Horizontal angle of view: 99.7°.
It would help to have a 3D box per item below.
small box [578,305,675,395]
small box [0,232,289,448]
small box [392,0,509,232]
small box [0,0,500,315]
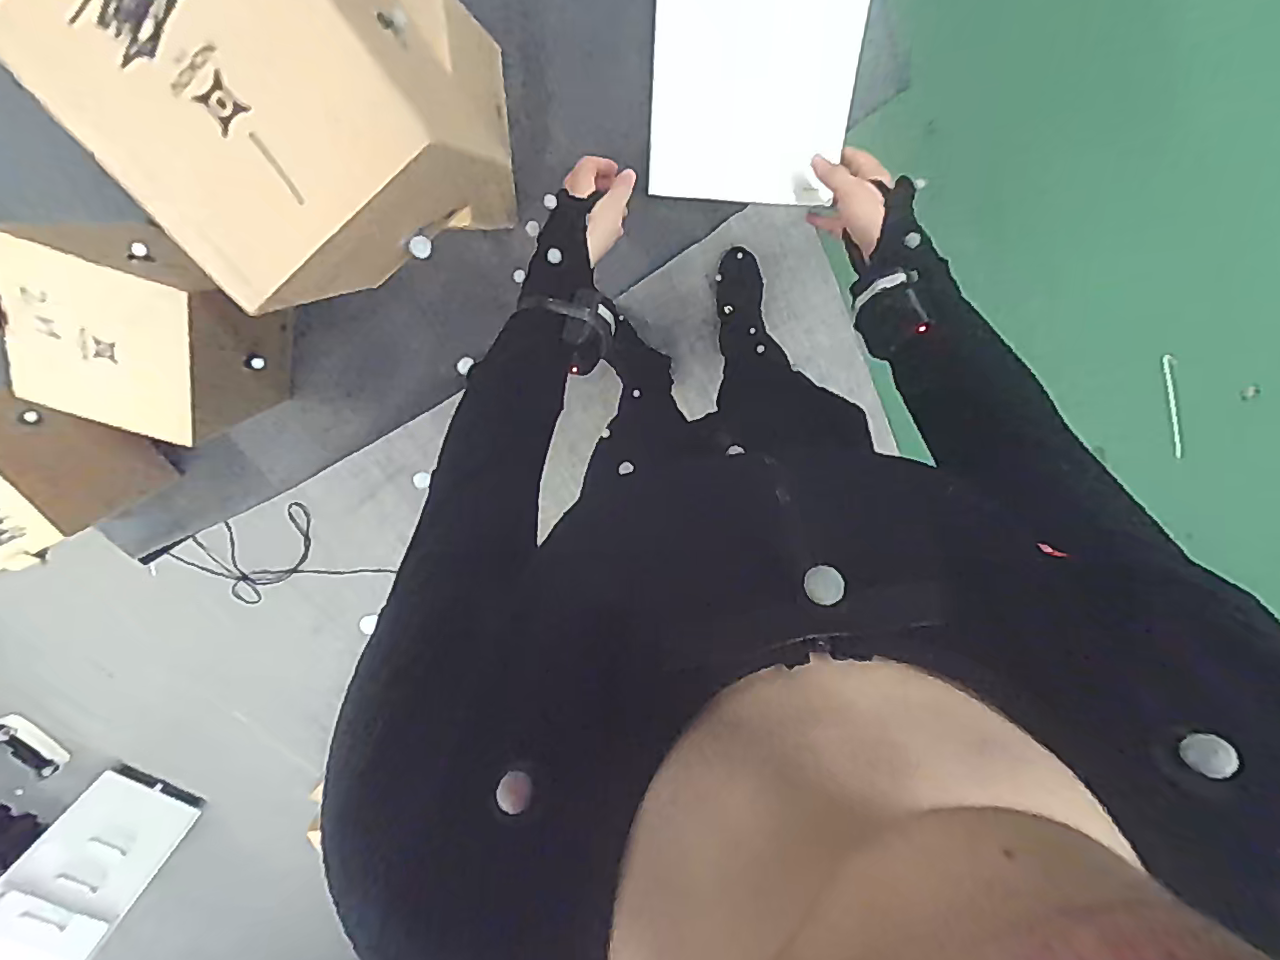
[{"bbox_3d":[-0.031,-0.304,1.295,0.176,0.168,0.179,2,95,-31],"label":"small box"},{"bbox_3d":[-0.518,-0.161,0.589,0.179,0.176,0.168,18,115,-7],"label":"small box"},{"bbox_3d":[-0.228,-0.323,0.500,0.179,0.176,0.168,0,116,3],"label":"small box"},{"bbox_3d":[-0.225,-0.239,0.358,0.168,0.176,0.179,-31,111,17],"label":"small box"}]
